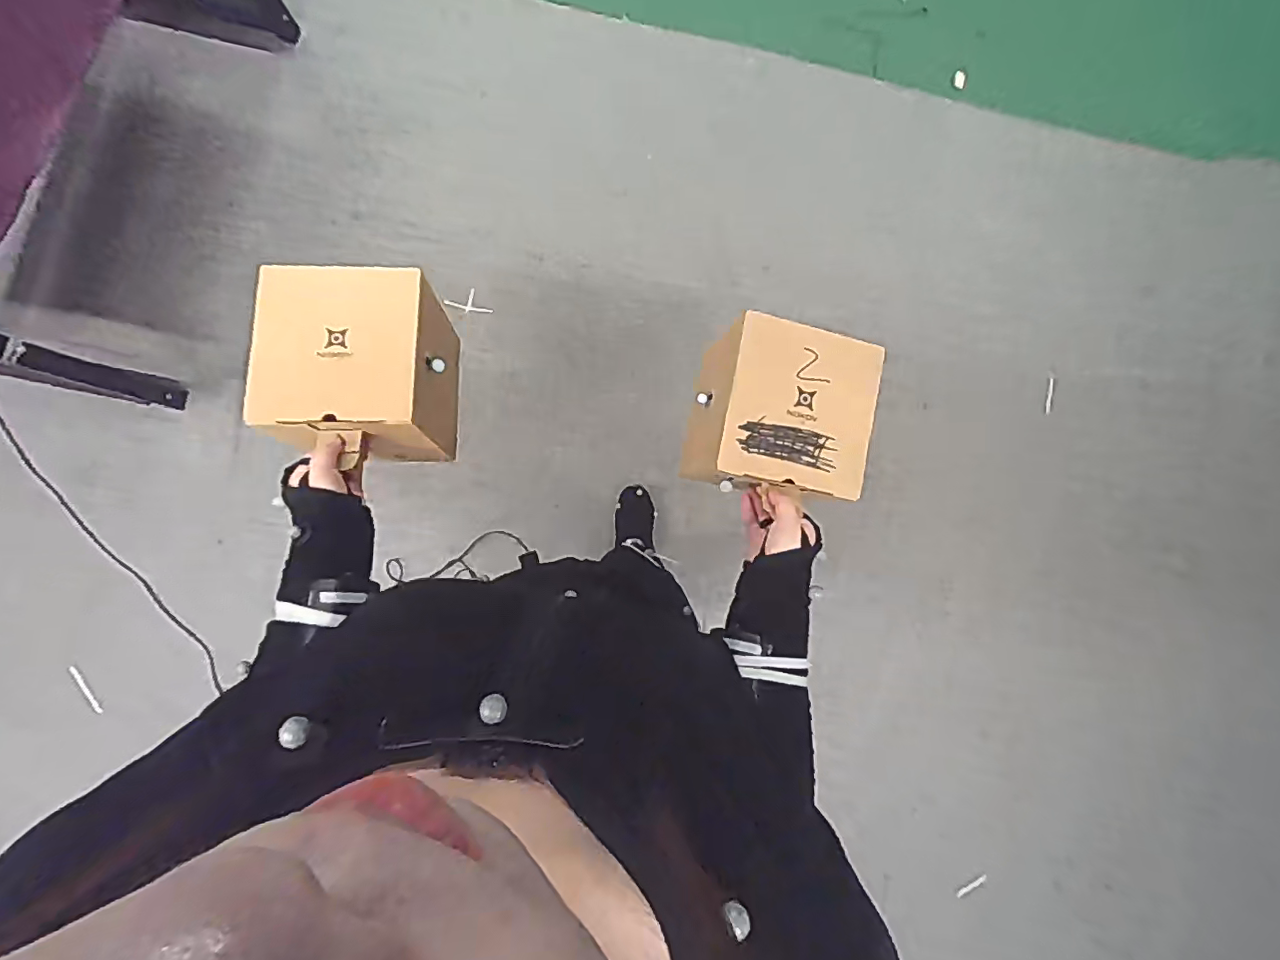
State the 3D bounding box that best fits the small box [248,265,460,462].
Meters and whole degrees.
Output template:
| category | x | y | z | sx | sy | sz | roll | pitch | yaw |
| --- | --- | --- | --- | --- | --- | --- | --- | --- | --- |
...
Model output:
| category | x | y | z | sx | sy | sz | roll | pitch | yaw |
| --- | --- | --- | --- | --- | --- | --- | --- | --- | --- |
| small box | -0.316 | -0.125 | 0.635 | 0.168 | 0.176 | 0.179 | -1 | 80 | -5 |
